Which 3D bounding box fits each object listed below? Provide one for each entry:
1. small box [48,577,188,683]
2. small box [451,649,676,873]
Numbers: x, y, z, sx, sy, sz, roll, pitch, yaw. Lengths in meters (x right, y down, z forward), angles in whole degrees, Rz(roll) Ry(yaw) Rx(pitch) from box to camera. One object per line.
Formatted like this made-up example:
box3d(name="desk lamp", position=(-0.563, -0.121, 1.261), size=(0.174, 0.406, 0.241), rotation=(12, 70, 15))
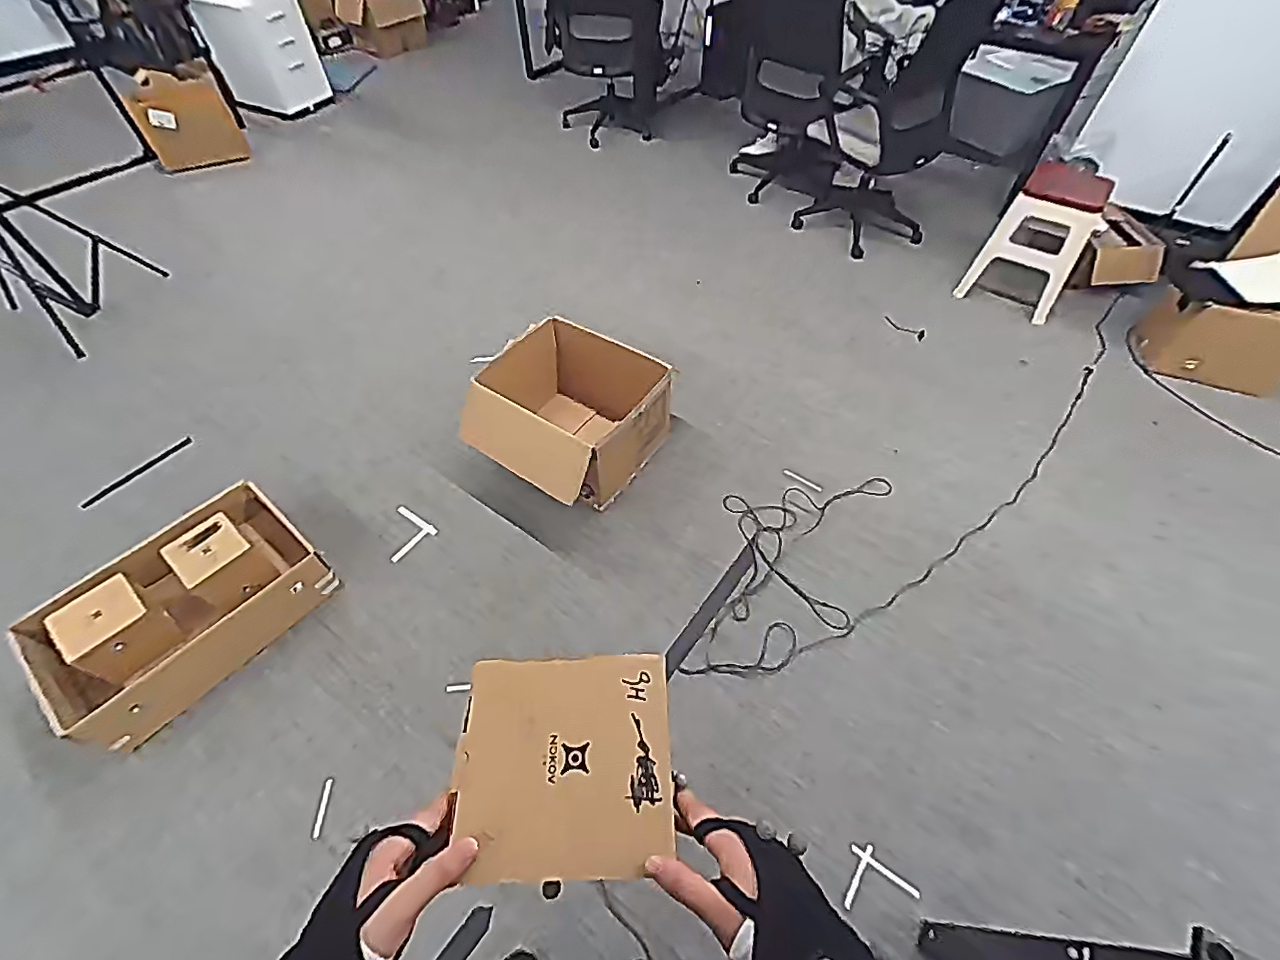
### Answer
box3d(name="small box", position=(-1.339, 0.392, 1.398), size=(0.168, 0.176, 0.179), rotation=(36, 59, 22))
box3d(name="small box", position=(-0.057, 0.273, 0.519), size=(0.179, 0.176, 0.168), rotation=(-3, 54, 0))
